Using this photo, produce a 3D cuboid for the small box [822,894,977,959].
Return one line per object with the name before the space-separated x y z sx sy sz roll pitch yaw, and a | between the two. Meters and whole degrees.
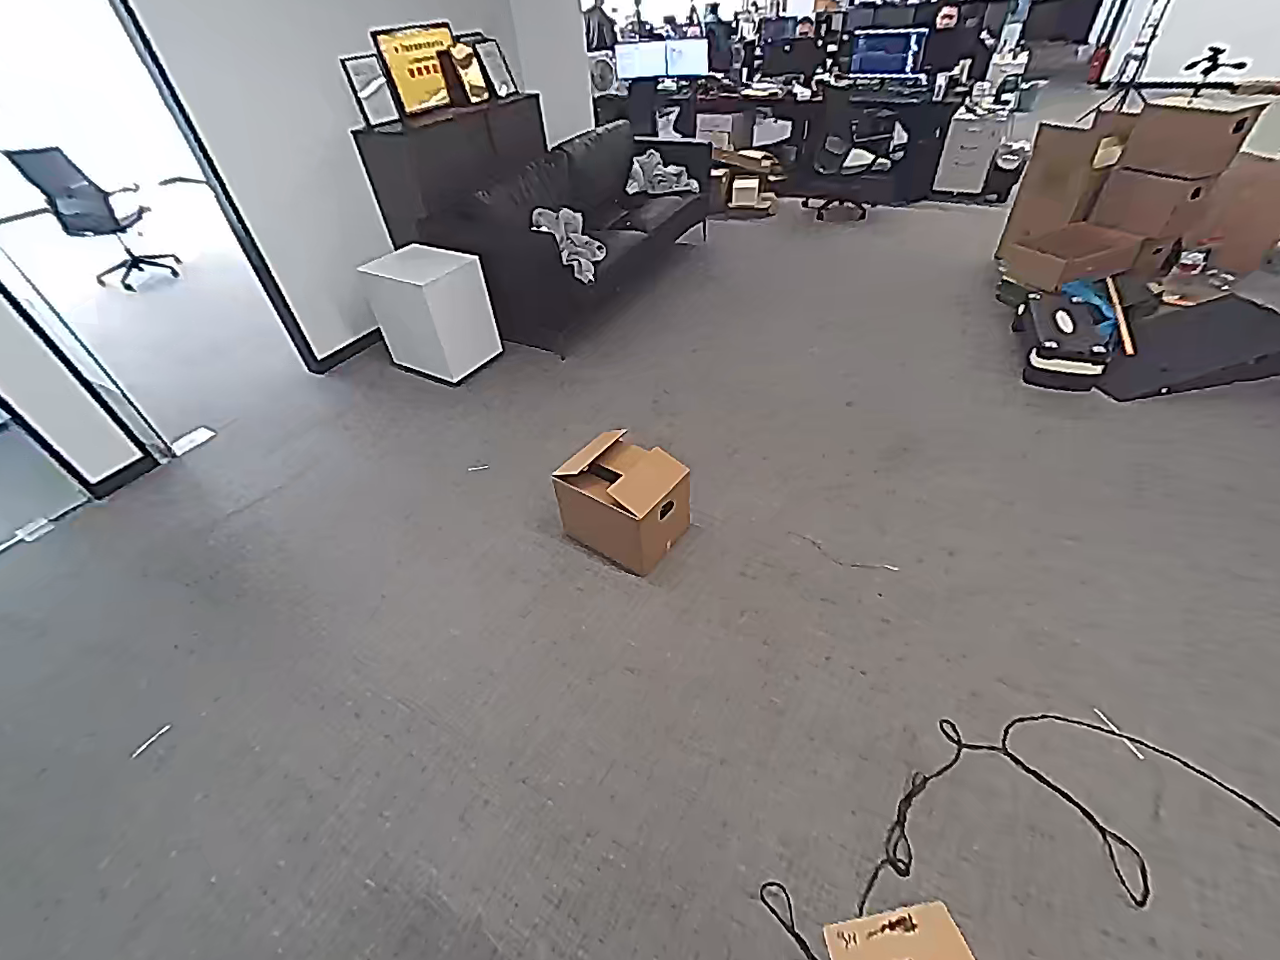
small box | 0.345 0.663 0.647 0.168 0.176 0.179 -19 4 3
